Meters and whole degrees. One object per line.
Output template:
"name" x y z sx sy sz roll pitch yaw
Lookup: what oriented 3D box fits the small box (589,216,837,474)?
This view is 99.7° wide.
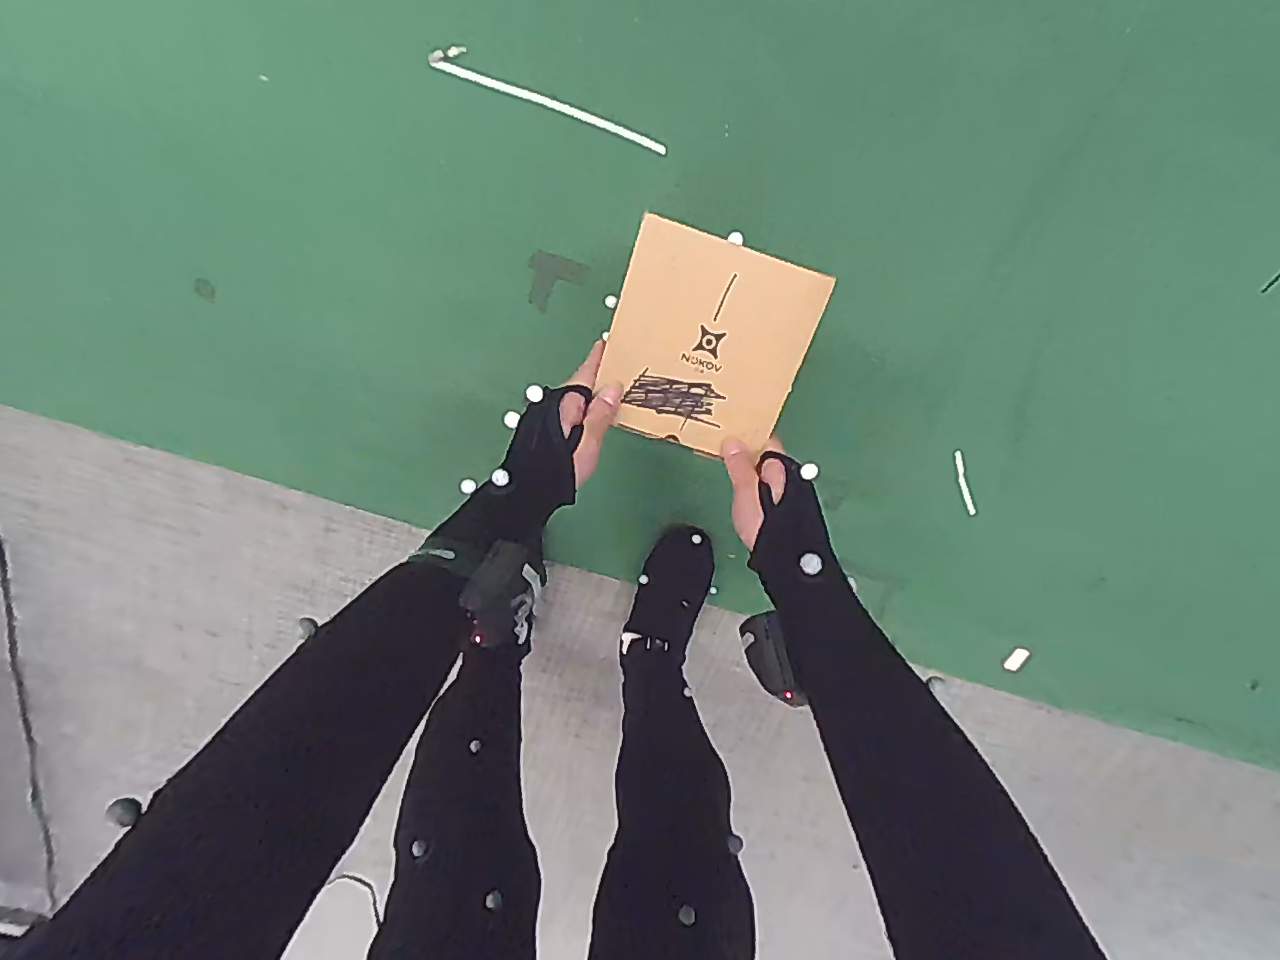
"small box" 0.059 -0.133 0.530 0.168 0.176 0.179 17 110 -6
